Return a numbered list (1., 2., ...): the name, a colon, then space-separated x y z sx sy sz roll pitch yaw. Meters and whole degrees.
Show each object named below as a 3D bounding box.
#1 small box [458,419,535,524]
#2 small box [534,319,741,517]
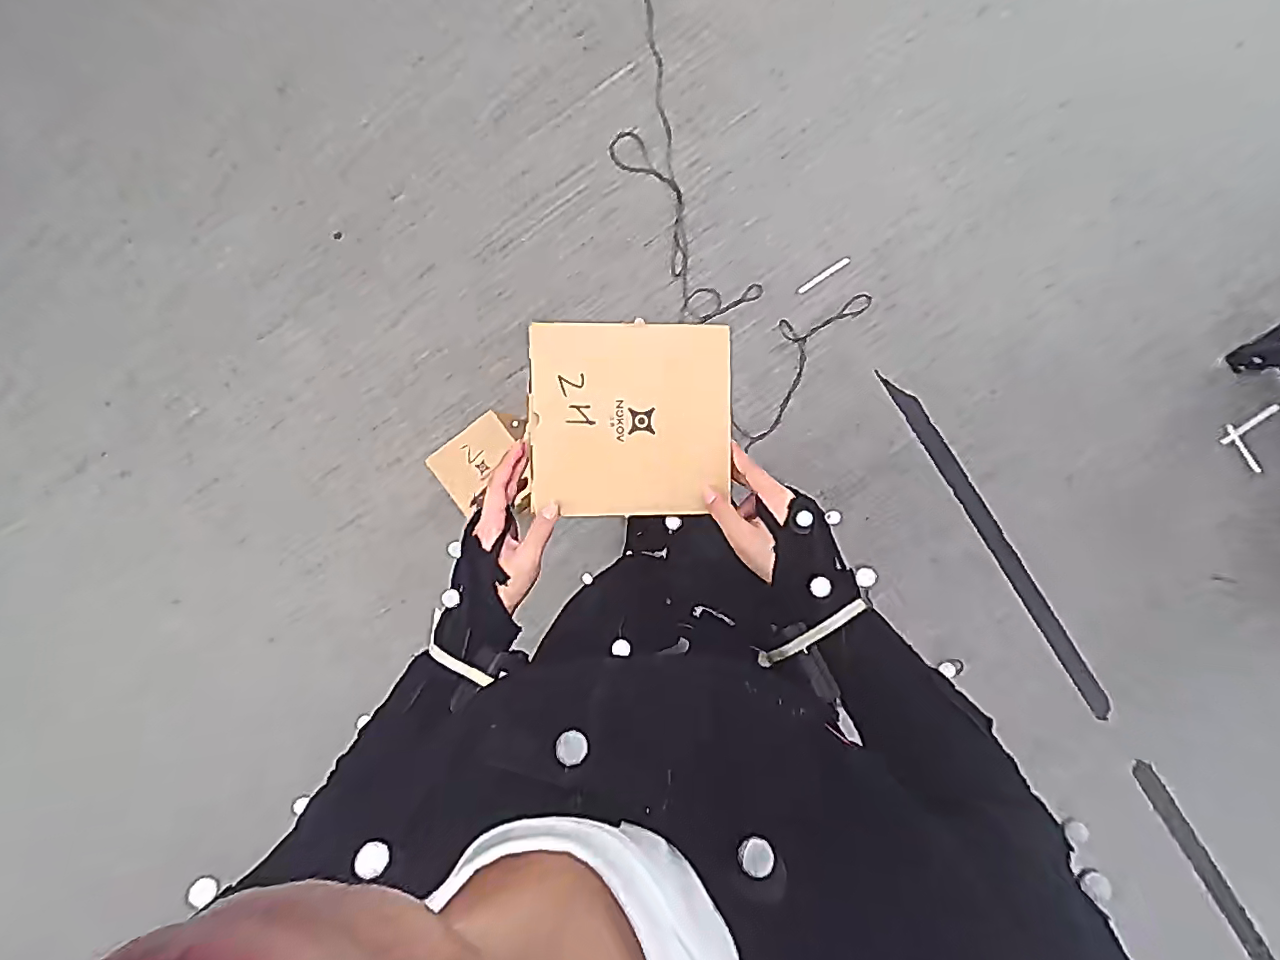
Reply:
1. small box: -0.286 -0.021 1.266 0.168 0.176 0.179 -41 92 3
2. small box: -0.008 -0.052 0.534 0.179 0.176 0.168 0 90 -4
